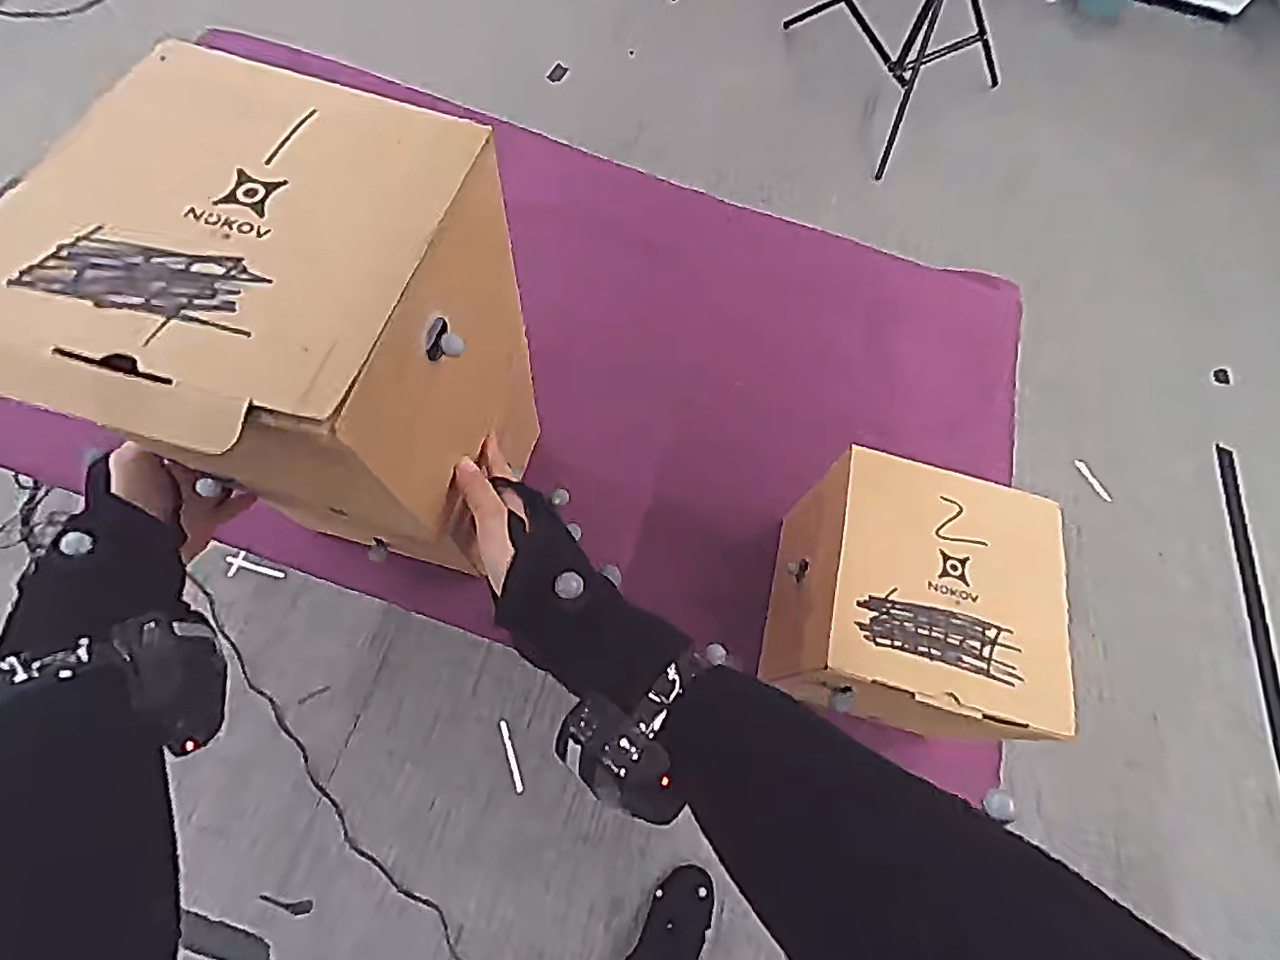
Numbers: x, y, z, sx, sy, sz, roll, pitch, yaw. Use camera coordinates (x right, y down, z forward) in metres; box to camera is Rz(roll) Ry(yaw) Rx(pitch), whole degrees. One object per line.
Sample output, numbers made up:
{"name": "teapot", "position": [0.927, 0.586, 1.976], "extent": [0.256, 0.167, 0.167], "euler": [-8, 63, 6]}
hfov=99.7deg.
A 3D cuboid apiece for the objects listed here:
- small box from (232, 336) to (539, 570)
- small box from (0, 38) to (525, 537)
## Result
{"name": "small box", "position": [-0.191, -0.031, 0.455], "extent": [0.179, 0.176, 0.168], "euler": [16, 69, -1]}
{"name": "small box", "position": [-0.170, -0.083, 0.299], "extent": [0.168, 0.176, 0.179], "euler": [15, 68, 0]}
